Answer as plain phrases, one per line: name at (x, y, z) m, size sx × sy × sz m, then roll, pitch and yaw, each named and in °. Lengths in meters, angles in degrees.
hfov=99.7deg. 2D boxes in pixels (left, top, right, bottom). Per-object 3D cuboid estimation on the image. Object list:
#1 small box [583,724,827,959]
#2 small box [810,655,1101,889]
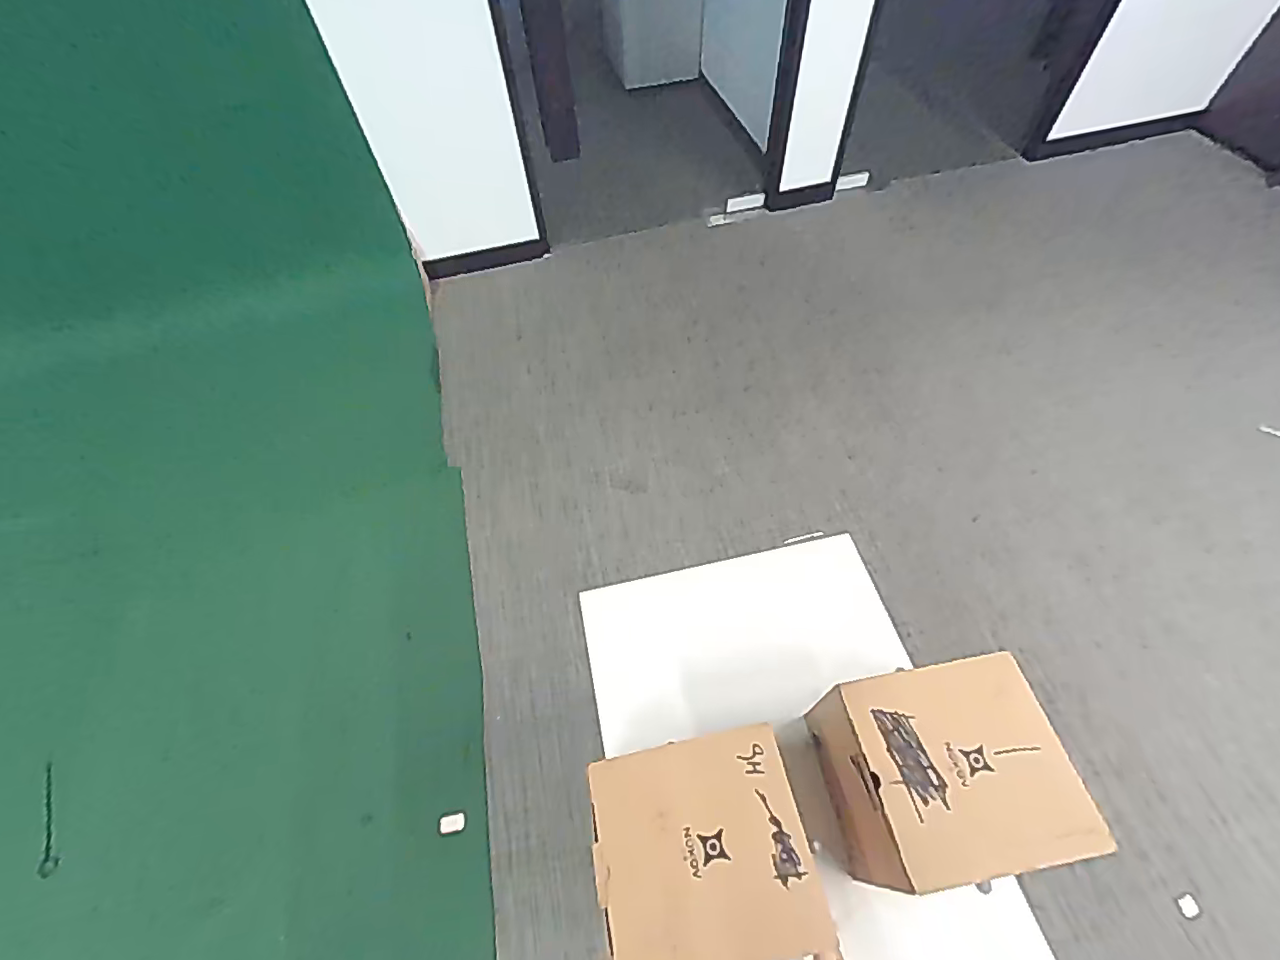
small box at (0.050, 0.353, 0.521) m, size 0.179 × 0.176 × 0.168 m, roll -10°, pitch 57°, yaw -5°
small box at (0.286, 0.296, 0.548) m, size 0.179 × 0.176 × 0.168 m, roll -10°, pitch 57°, yaw -3°
